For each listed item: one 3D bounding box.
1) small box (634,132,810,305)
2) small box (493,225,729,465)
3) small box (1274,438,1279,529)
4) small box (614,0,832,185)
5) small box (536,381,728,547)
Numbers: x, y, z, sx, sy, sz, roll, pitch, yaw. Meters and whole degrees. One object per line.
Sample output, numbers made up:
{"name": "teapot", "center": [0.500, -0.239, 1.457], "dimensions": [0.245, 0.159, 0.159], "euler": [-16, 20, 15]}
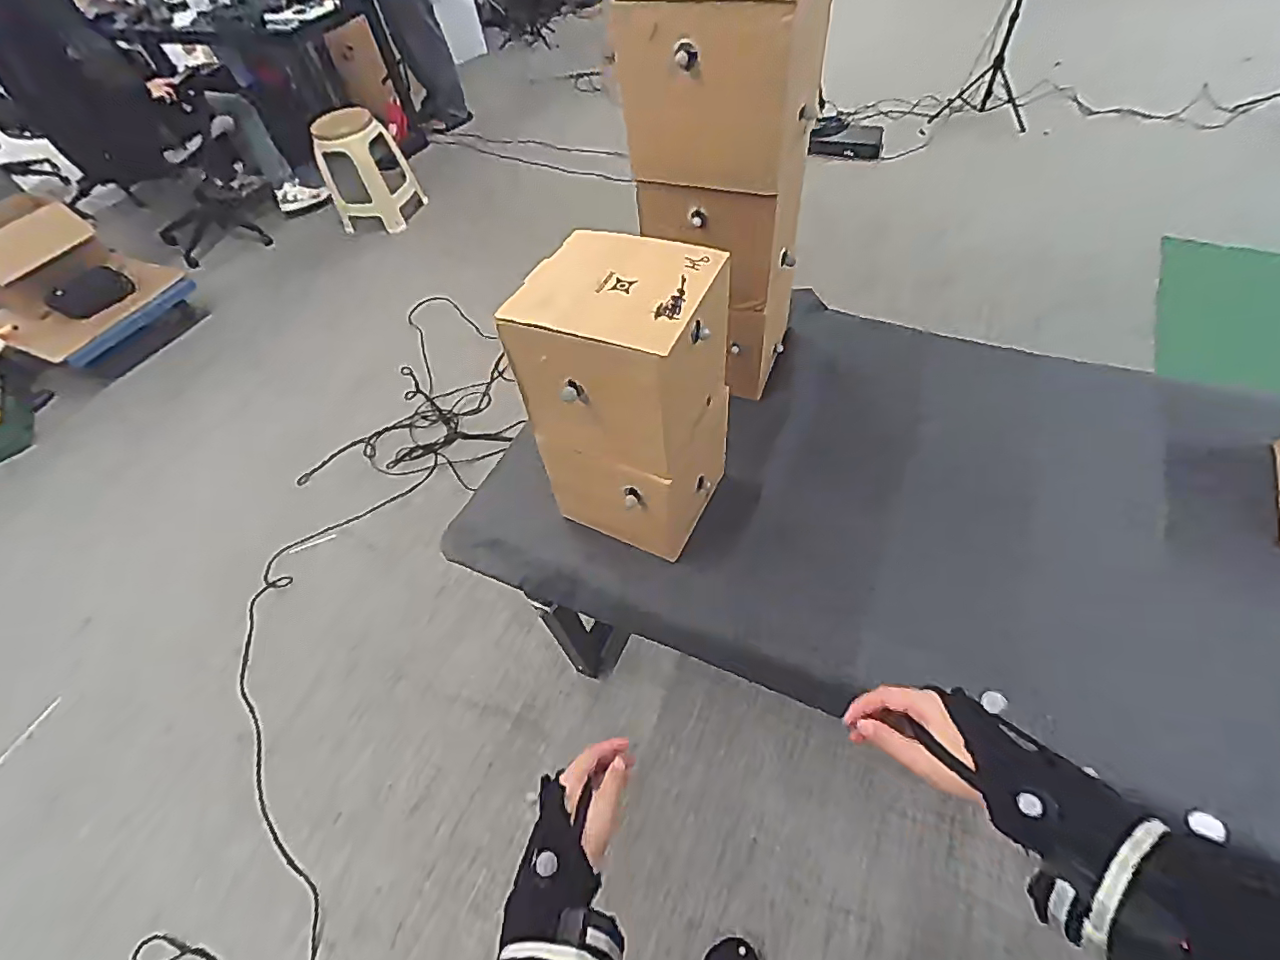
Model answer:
{"name": "small box", "center": [0.109, -0.356, 0.711], "dimensions": [0.179, 0.176, 0.168], "euler": [16, 61, 16]}
{"name": "small box", "center": [-0.017, -0.139, 0.568], "dimensions": [0.179, 0.176, 0.168], "euler": [17, 57, 19]}
{"name": "small box", "center": [0.838, -0.007, 0.569], "dimensions": [0.168, 0.176, 0.179], "euler": [21, 62, 21]}
{"name": "small box", "center": [0.090, -0.439, 0.570], "dimensions": [0.179, 0.176, 0.168], "euler": [18, 61, 17]}
{"name": "small box", "center": [-0.001, -0.037, 0.696], "dimensions": [0.179, 0.176, 0.168], "euler": [21, 57, 20]}
